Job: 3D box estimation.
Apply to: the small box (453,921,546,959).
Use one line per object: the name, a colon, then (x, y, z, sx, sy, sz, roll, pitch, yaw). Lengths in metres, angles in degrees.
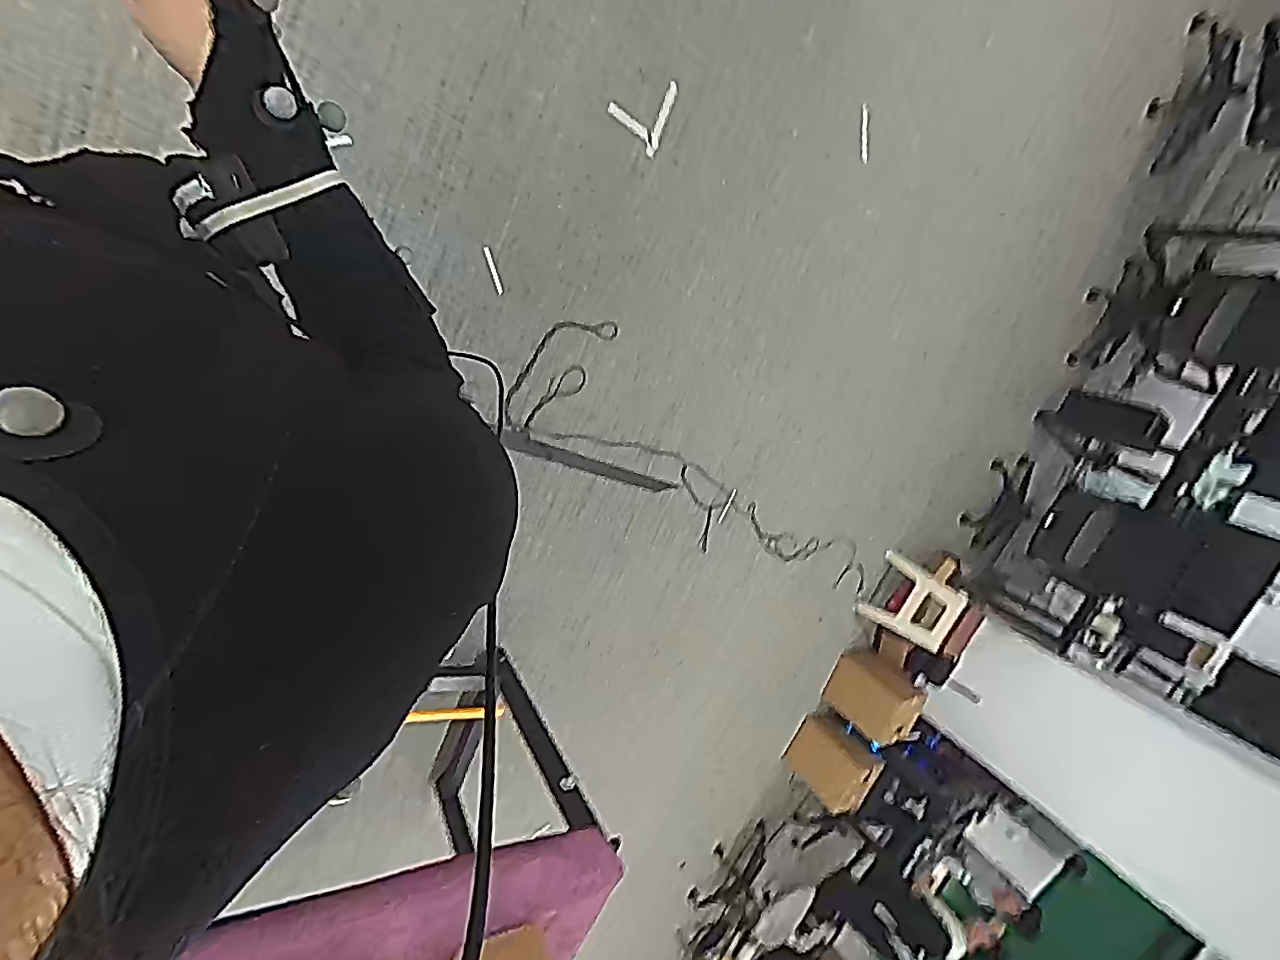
small box: (-0.288, 1.031, 1.067, 0.179, 0.176, 0.168, 13, 106, -37)
